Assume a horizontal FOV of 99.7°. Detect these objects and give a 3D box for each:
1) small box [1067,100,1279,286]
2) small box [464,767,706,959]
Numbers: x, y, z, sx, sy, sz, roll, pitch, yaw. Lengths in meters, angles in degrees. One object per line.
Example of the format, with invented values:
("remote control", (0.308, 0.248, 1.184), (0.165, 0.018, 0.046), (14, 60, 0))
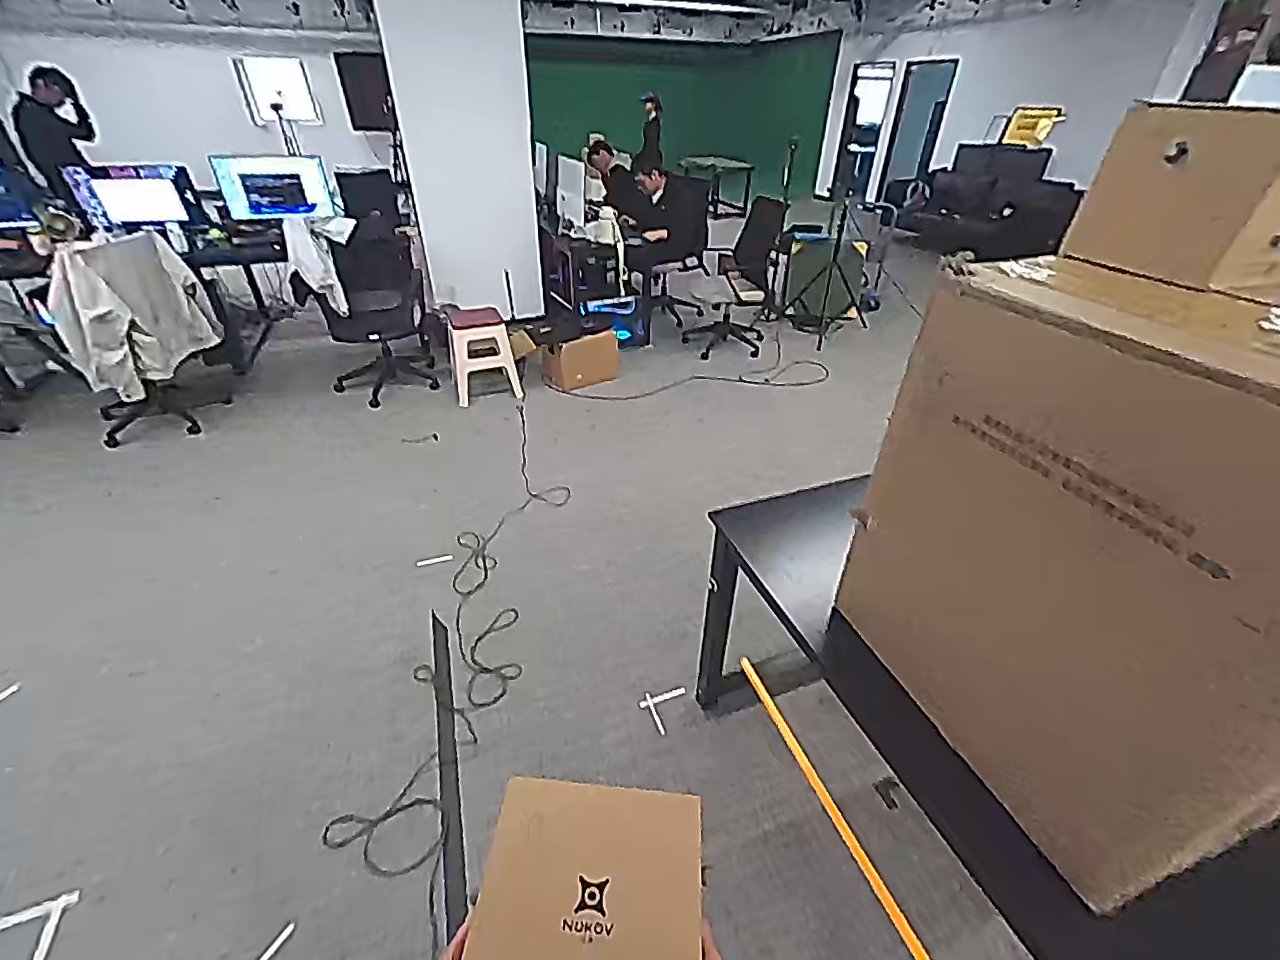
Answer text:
("small box", (0.663, -0.334, 0.631), (0.168, 0.176, 0.179), (-10, 38, -18))
("small box", (-0.037, 0.369, 0.441), (0.168, 0.176, 0.179), (4, 36, 3))
